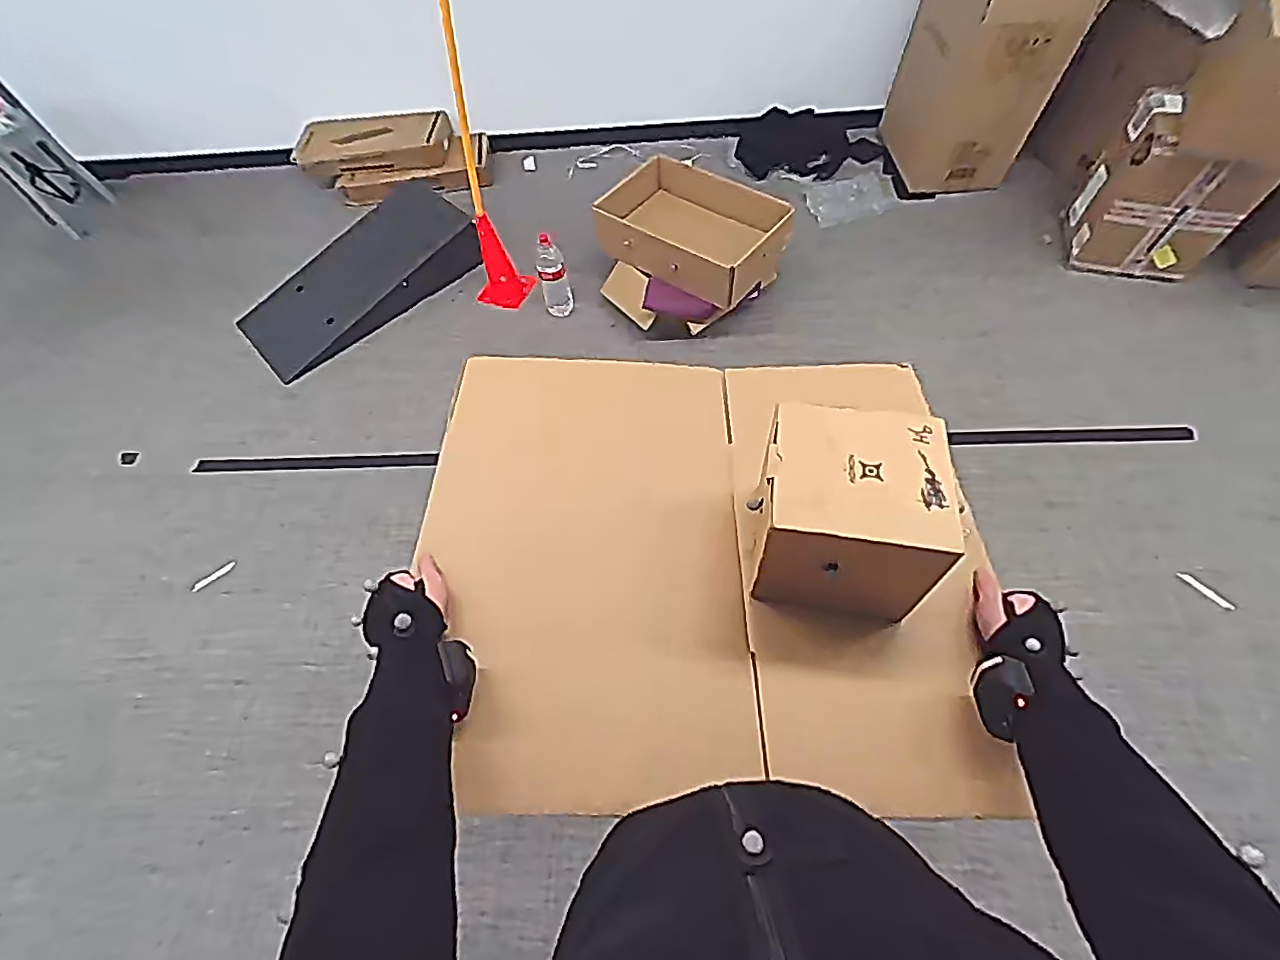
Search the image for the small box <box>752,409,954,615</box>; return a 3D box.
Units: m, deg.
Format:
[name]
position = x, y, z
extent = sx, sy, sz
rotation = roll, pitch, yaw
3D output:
[small box]
position = 0.226, 0.041, 0.618
extent = 0.179, 0.176, 0.168
rotation = 7, 56, 10
